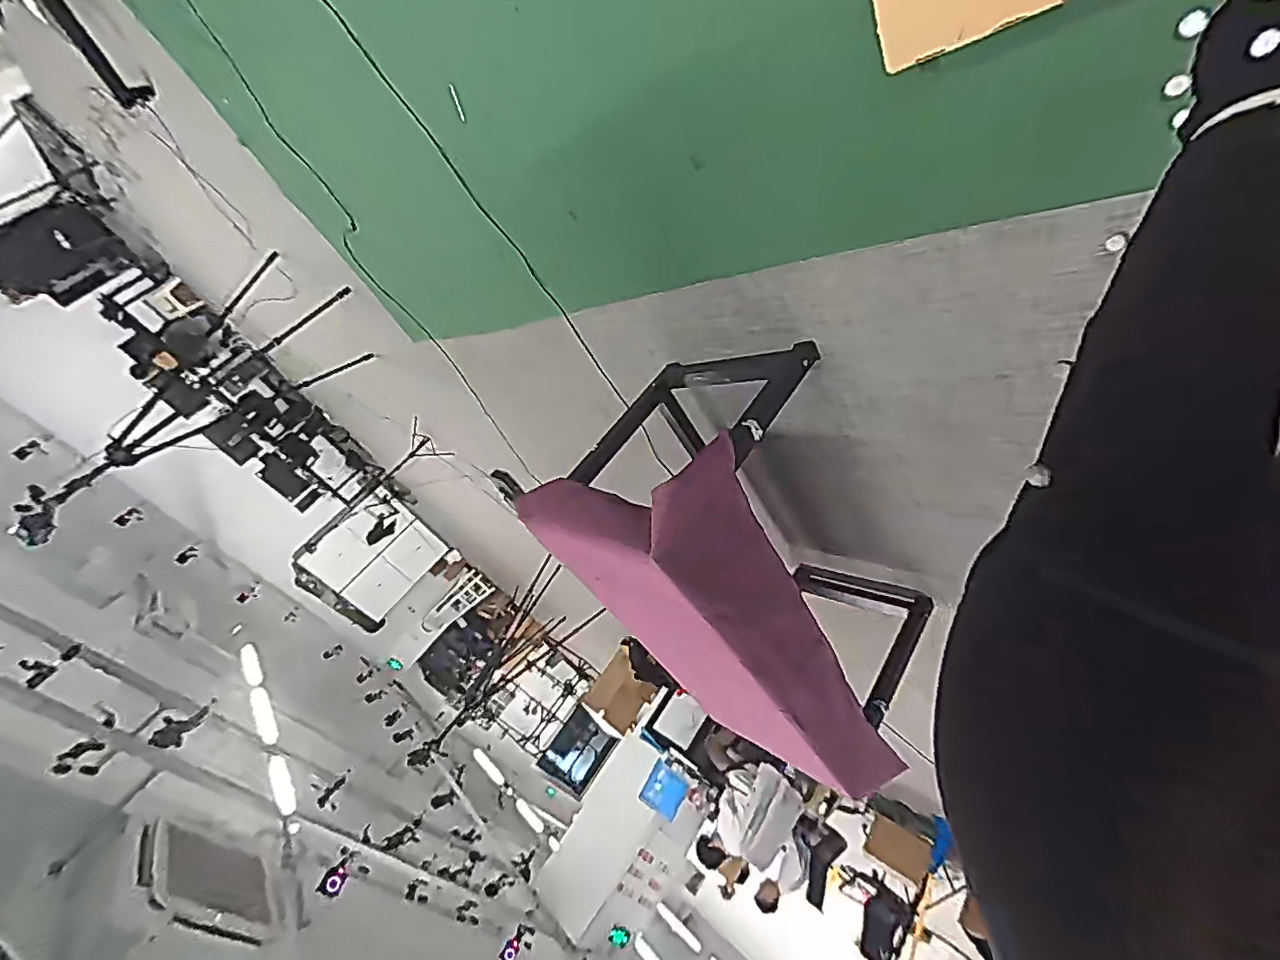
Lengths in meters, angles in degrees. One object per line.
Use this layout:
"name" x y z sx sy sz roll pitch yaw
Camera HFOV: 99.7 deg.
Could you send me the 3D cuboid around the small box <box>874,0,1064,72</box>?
"small box" 0.346 -0.569 0.543 0.168 0.176 0.179 13 146 48
